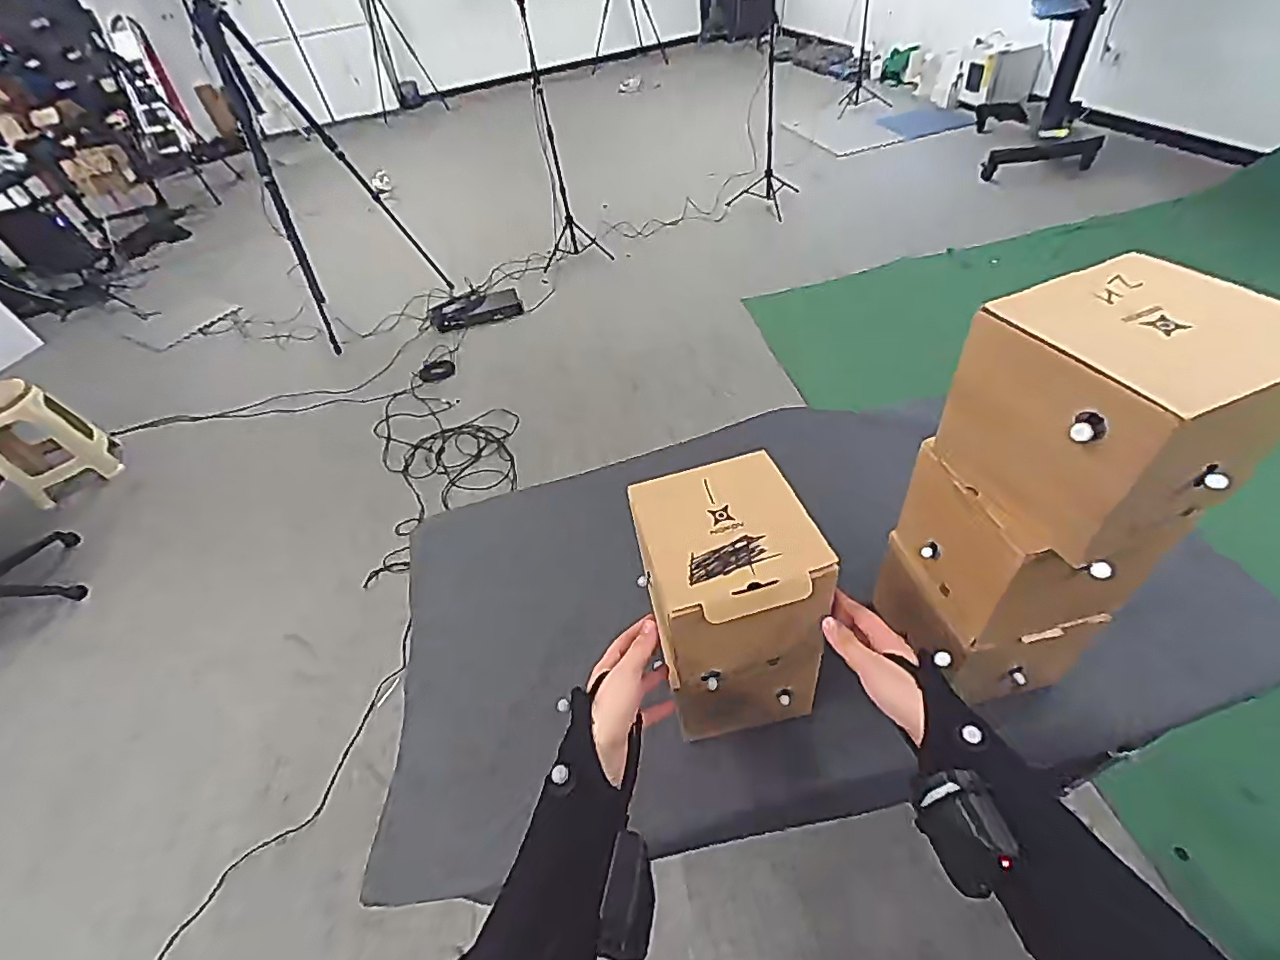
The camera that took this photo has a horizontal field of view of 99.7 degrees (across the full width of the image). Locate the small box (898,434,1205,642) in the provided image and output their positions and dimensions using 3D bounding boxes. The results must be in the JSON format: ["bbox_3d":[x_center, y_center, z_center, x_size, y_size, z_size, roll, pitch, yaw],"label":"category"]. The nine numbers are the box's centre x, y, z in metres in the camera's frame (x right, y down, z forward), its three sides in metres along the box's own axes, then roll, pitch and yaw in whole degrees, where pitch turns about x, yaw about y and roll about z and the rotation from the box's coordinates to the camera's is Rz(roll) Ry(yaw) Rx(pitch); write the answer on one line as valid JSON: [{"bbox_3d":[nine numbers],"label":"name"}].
[{"bbox_3d":[0.410,0.048,0.581,0.179,0.176,0.168,-15,45,-1],"label":"small box"}]

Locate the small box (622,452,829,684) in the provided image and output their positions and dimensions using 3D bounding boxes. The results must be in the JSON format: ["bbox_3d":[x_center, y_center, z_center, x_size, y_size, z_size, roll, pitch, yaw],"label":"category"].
[{"bbox_3d":[0.090,0.102,0.598,0.168,0.176,0.179,-16,43,-4],"label":"small box"}]

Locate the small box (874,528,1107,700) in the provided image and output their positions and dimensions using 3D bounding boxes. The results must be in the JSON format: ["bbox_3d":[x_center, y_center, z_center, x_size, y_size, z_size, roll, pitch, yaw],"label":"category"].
[{"bbox_3d":[0.426,0.163,0.696,0.168,0.176,0.179,-13,45,0],"label":"small box"}]

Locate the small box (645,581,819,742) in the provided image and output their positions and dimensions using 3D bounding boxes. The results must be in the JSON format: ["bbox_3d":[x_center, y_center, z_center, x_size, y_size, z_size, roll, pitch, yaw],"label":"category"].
[{"bbox_3d":[0.115,0.218,0.712,0.179,0.176,0.168,-14,44,0],"label":"small box"}]

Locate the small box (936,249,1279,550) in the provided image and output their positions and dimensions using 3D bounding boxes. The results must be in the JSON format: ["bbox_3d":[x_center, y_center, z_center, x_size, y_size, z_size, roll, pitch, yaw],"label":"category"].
[{"bbox_3d":[0.393,-0.063,0.460,0.168,0.176,0.179,-20,45,-7],"label":"small box"}]
